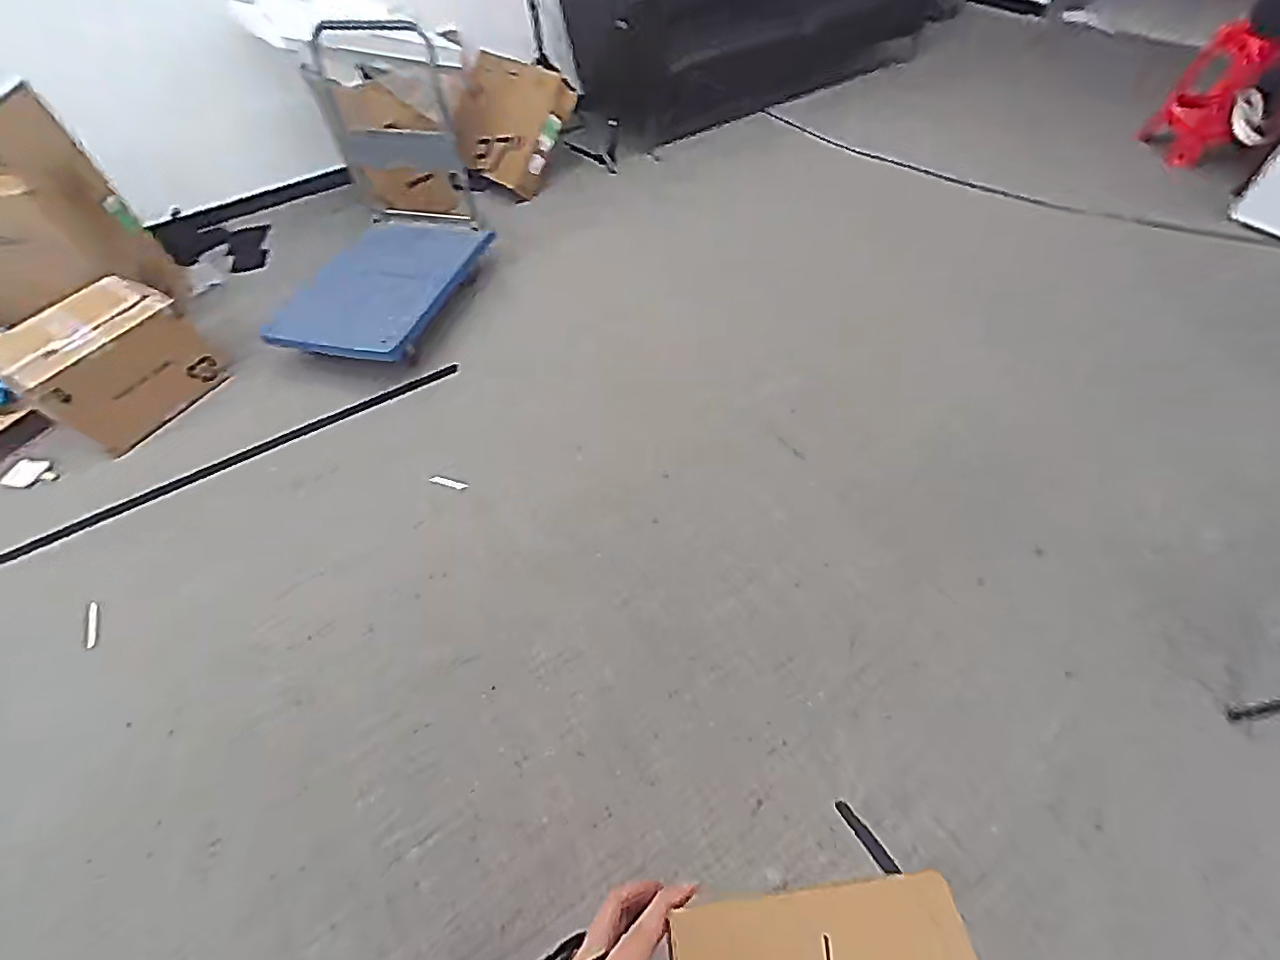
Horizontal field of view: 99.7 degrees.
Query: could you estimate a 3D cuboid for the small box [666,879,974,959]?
[{"bbox_3d":[0.107,0.357,0.323,0.168,0.176,0.179,-5,51,-3],"label":"small box"}]
